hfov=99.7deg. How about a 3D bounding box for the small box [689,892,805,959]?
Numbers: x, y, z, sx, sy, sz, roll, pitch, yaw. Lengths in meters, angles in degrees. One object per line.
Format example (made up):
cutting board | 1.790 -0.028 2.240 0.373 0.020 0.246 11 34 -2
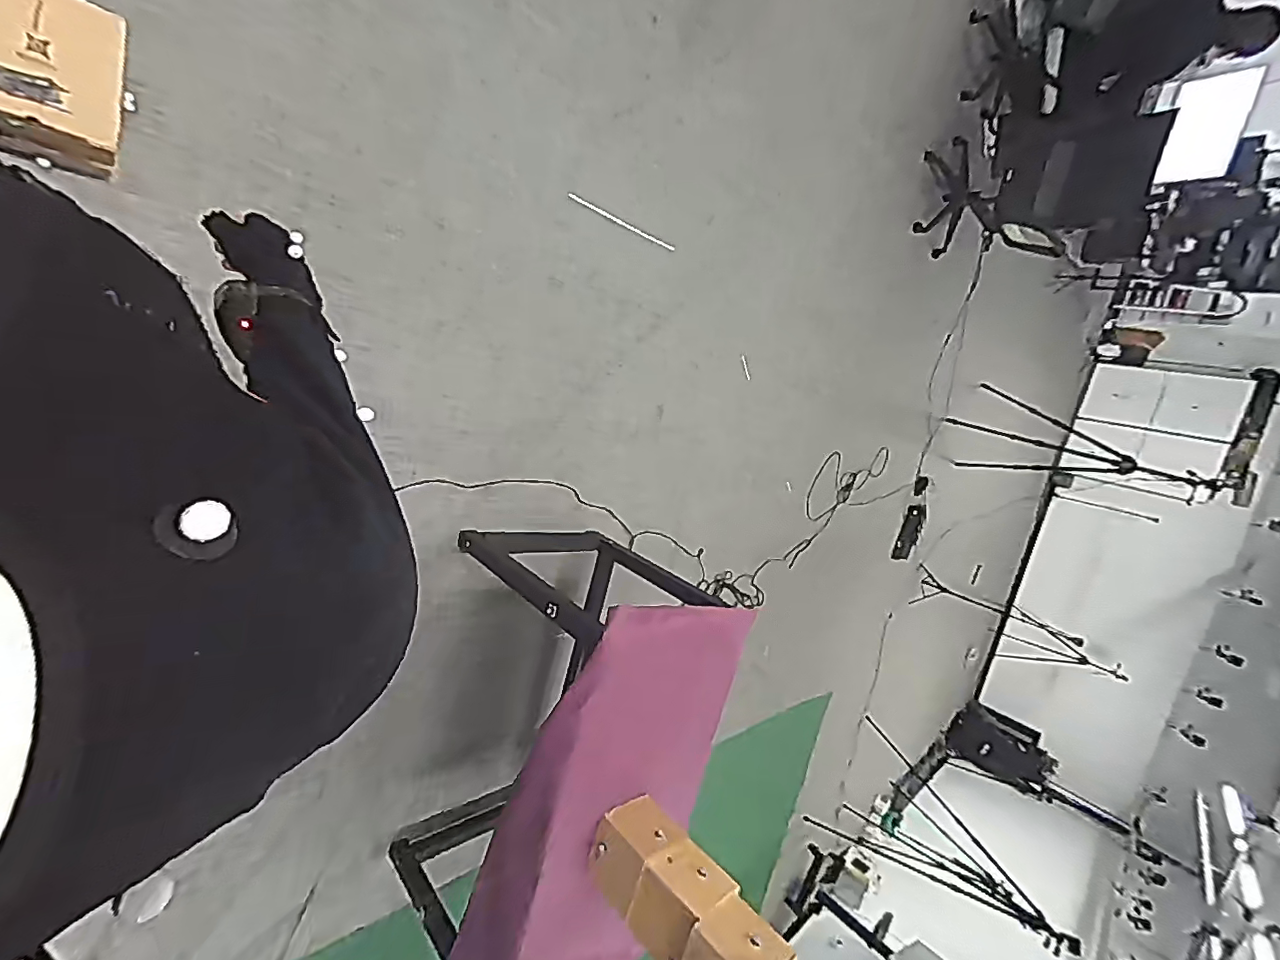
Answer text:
small box | 0.220 1.043 1.161 0.179 0.176 0.168 13 96 -48

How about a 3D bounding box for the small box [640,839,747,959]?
small box | 0.124 1.001 1.290 0.168 0.176 0.179 9 99 -46

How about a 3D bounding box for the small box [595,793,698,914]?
small box | 0.015 0.950 1.397 0.179 0.176 0.168 12 97 -46
